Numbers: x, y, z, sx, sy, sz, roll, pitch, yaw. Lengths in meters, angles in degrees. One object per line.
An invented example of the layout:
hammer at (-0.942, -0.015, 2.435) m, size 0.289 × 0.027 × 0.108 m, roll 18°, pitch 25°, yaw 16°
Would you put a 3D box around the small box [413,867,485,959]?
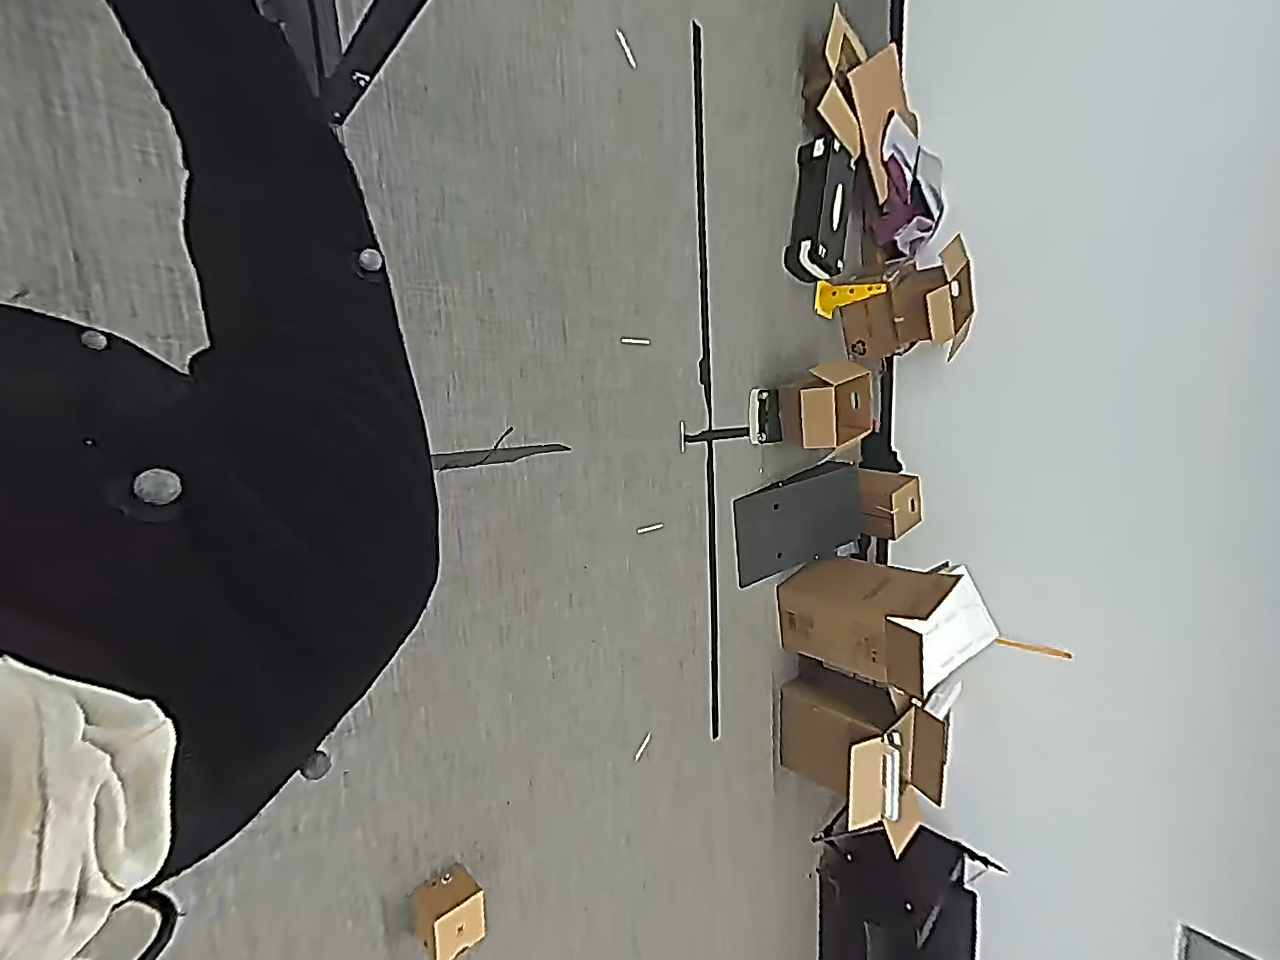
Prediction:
small box at (-0.622, 1.422, 1.757) m, size 0.168 × 0.176 × 0.179 m, roll -8°, pitch 100°, yaw -45°
